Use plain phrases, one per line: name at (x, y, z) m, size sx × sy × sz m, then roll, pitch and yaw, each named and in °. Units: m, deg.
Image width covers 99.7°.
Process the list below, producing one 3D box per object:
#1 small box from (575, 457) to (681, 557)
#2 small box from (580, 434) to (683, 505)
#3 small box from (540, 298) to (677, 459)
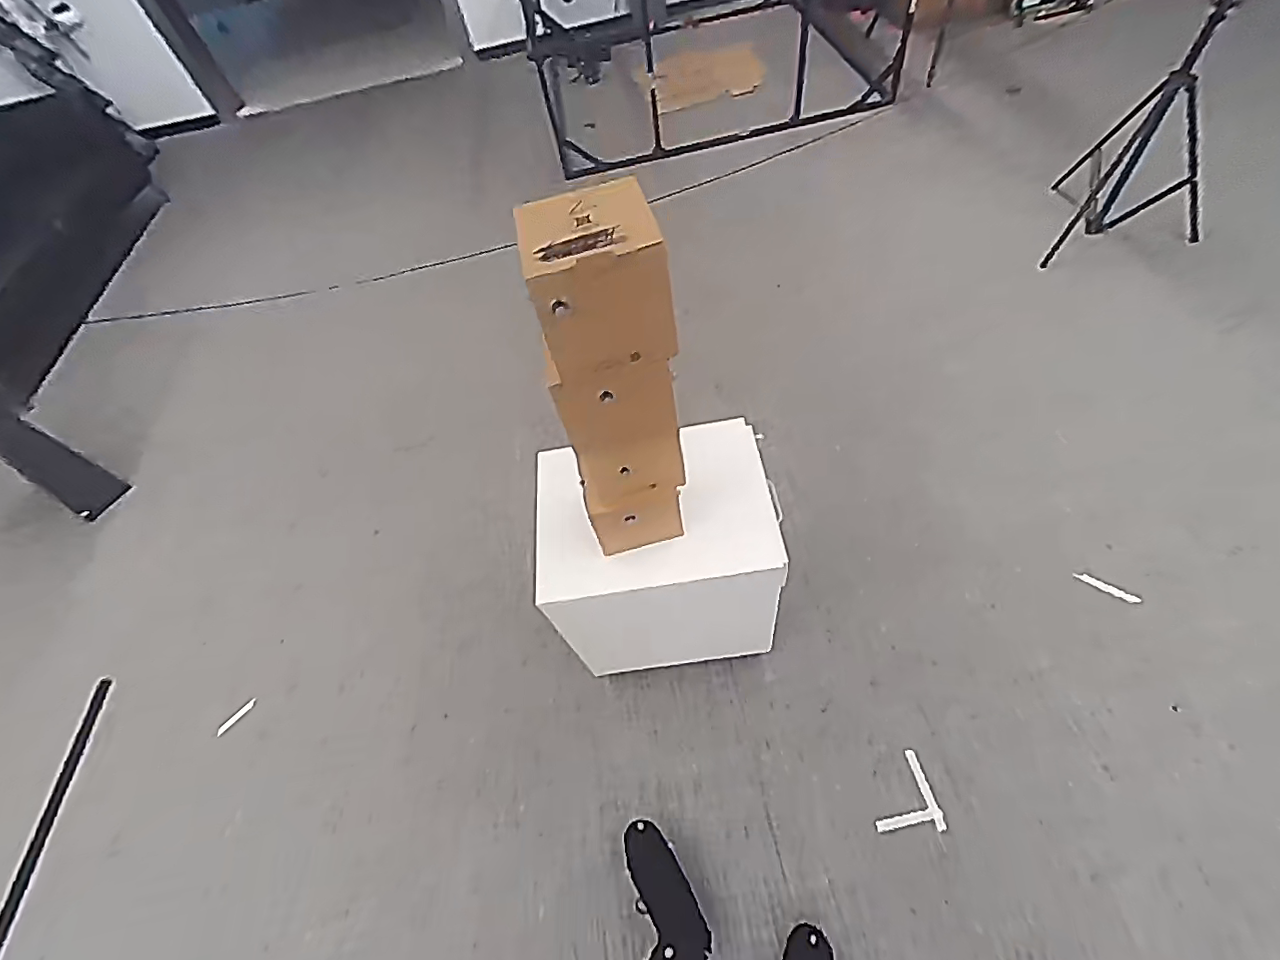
small box at (-0.022, 0.039, 1.120) m, size 0.179 × 0.176 × 0.168 m, roll -15°, pitch 54°, yaw -2°
small box at (-0.023, -0.071, 0.998) m, size 0.168 × 0.176 × 0.179 m, roll -15°, pitch 53°, yaw 0°
small box at (-0.048, -0.154, 0.857) m, size 0.179 × 0.176 × 0.168 m, roll -13°, pitch 54°, yaw 1°
